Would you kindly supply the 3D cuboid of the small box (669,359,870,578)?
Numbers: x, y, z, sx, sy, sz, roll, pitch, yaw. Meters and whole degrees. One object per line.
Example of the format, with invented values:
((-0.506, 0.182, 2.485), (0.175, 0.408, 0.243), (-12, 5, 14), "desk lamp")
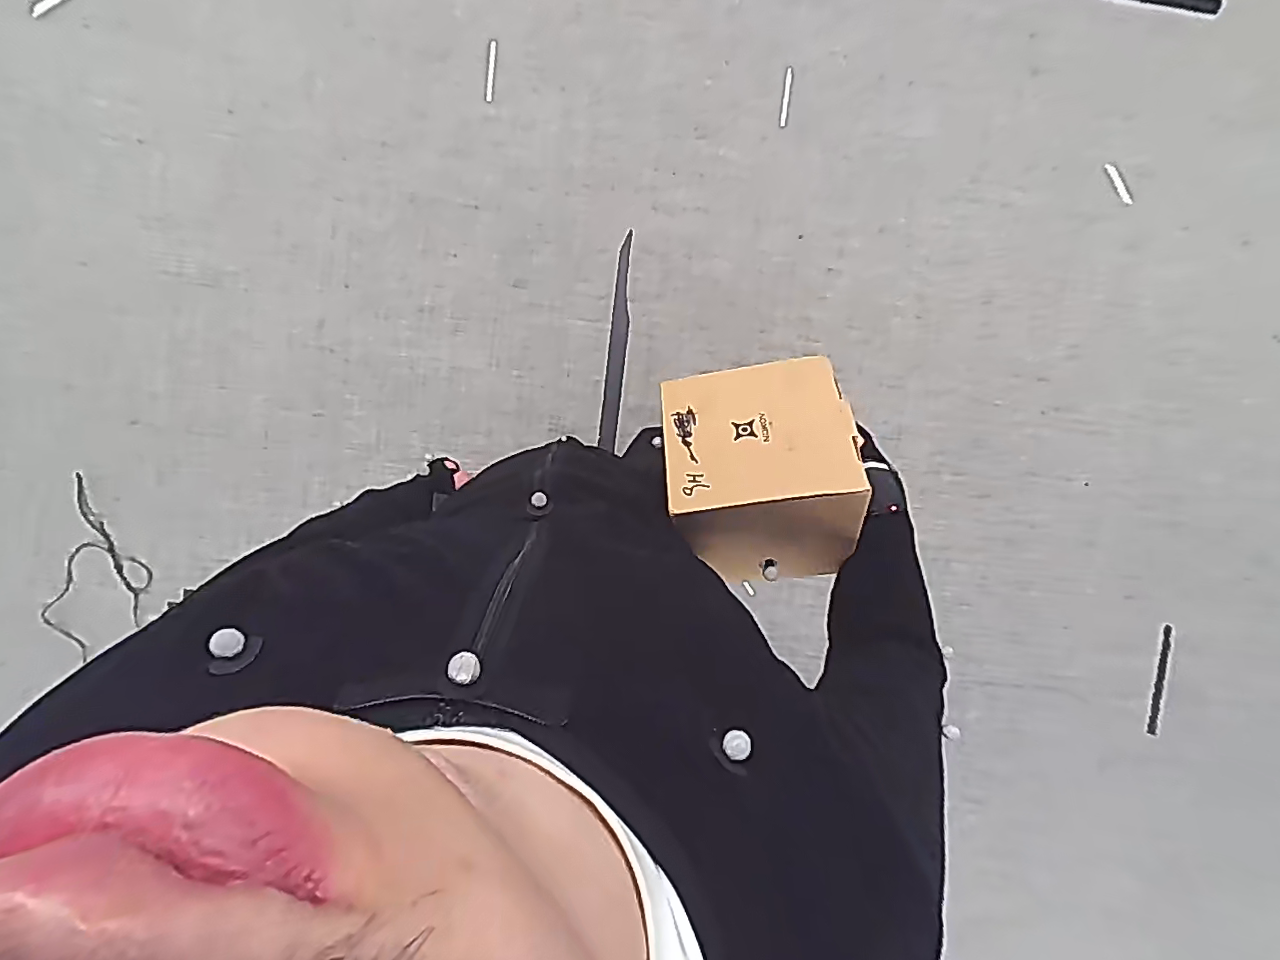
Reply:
((0.131, -0.005, 0.594), (0.179, 0.176, 0.168), (-7, 54, 9), "small box")
